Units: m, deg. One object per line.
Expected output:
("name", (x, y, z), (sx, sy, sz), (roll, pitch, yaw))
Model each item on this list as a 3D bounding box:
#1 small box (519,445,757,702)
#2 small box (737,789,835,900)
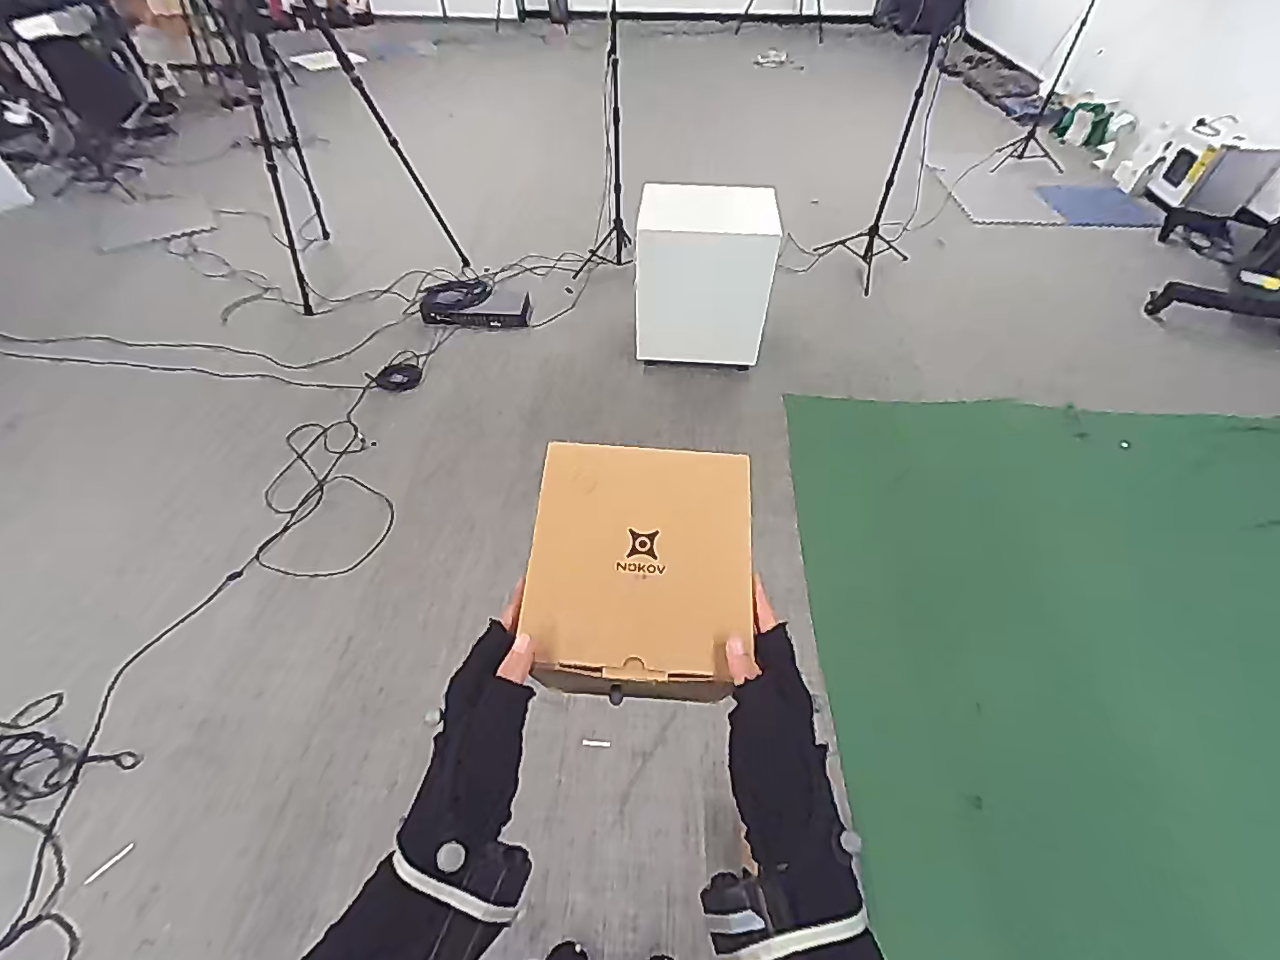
("small box", (0.001, 0.089, 0.475), (0.168, 0.176, 0.179), (4, 64, 1))
("small box", (0.305, 0.789, 1.167), (0.168, 0.176, 0.179), (3, 49, 1))
